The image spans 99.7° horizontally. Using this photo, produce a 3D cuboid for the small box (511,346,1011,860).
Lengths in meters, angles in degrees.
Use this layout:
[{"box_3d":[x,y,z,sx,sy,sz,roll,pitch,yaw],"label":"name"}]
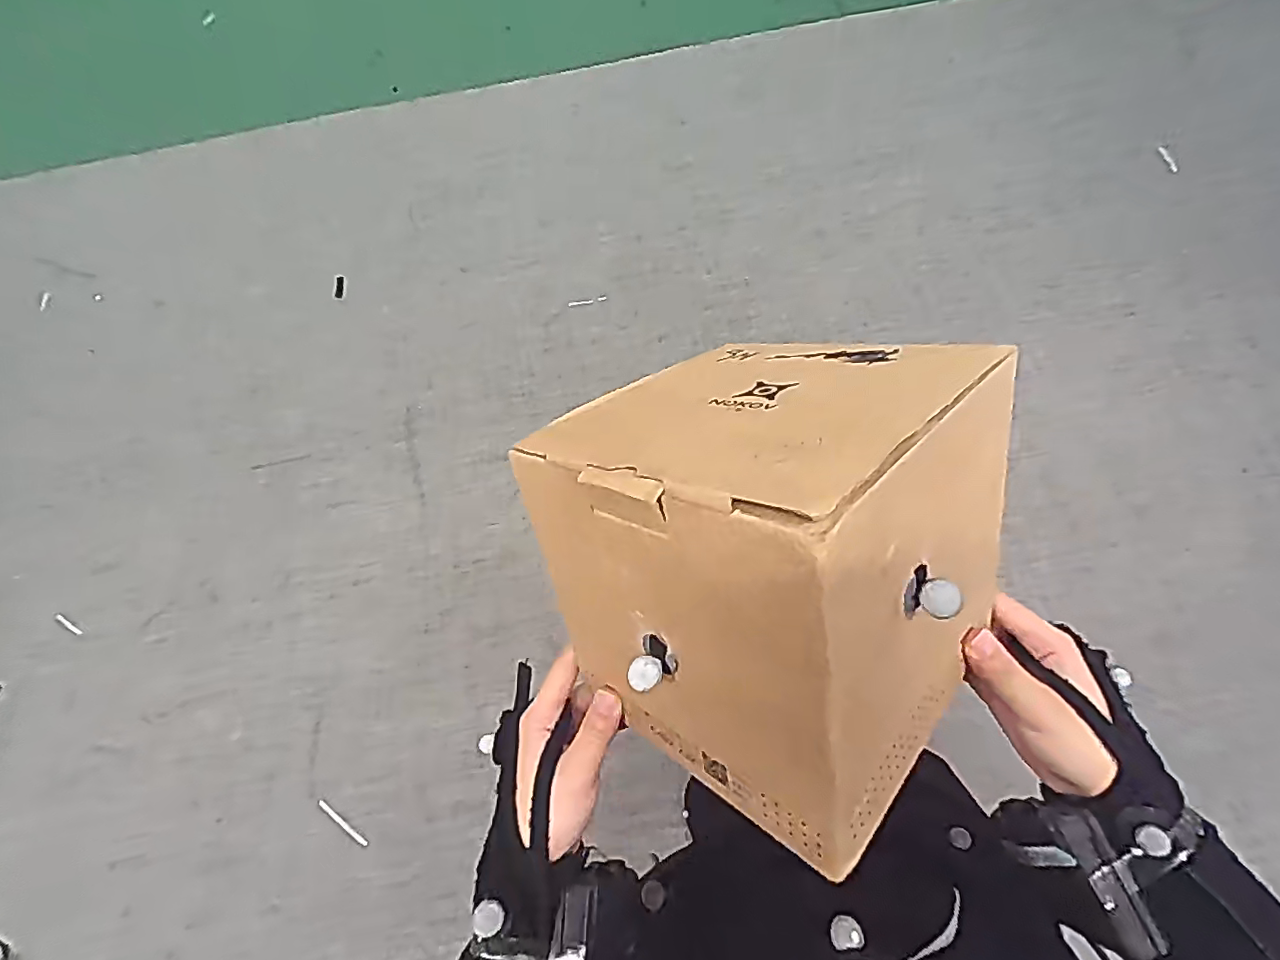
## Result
[{"box_3d":[0.068,0.038,0.281,0.179,0.176,0.168,-32,31,-35],"label":"small box"}]
